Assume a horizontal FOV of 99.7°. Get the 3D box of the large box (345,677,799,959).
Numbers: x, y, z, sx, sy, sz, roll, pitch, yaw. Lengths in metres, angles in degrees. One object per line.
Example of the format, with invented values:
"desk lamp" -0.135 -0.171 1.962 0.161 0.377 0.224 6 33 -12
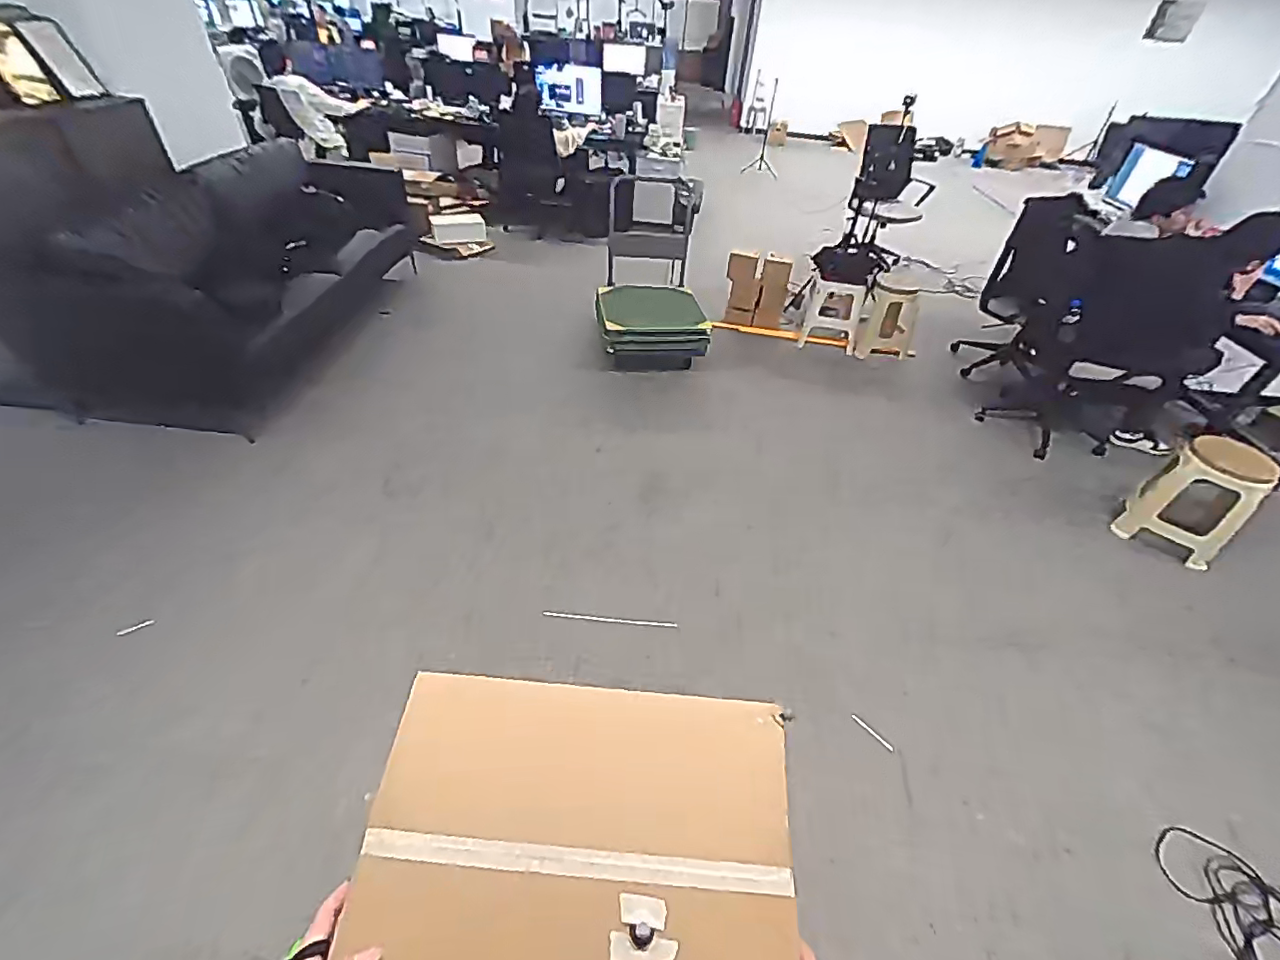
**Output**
"large box" -0.058 0.444 0.637 0.408 0.320 0.320 4 56 1
